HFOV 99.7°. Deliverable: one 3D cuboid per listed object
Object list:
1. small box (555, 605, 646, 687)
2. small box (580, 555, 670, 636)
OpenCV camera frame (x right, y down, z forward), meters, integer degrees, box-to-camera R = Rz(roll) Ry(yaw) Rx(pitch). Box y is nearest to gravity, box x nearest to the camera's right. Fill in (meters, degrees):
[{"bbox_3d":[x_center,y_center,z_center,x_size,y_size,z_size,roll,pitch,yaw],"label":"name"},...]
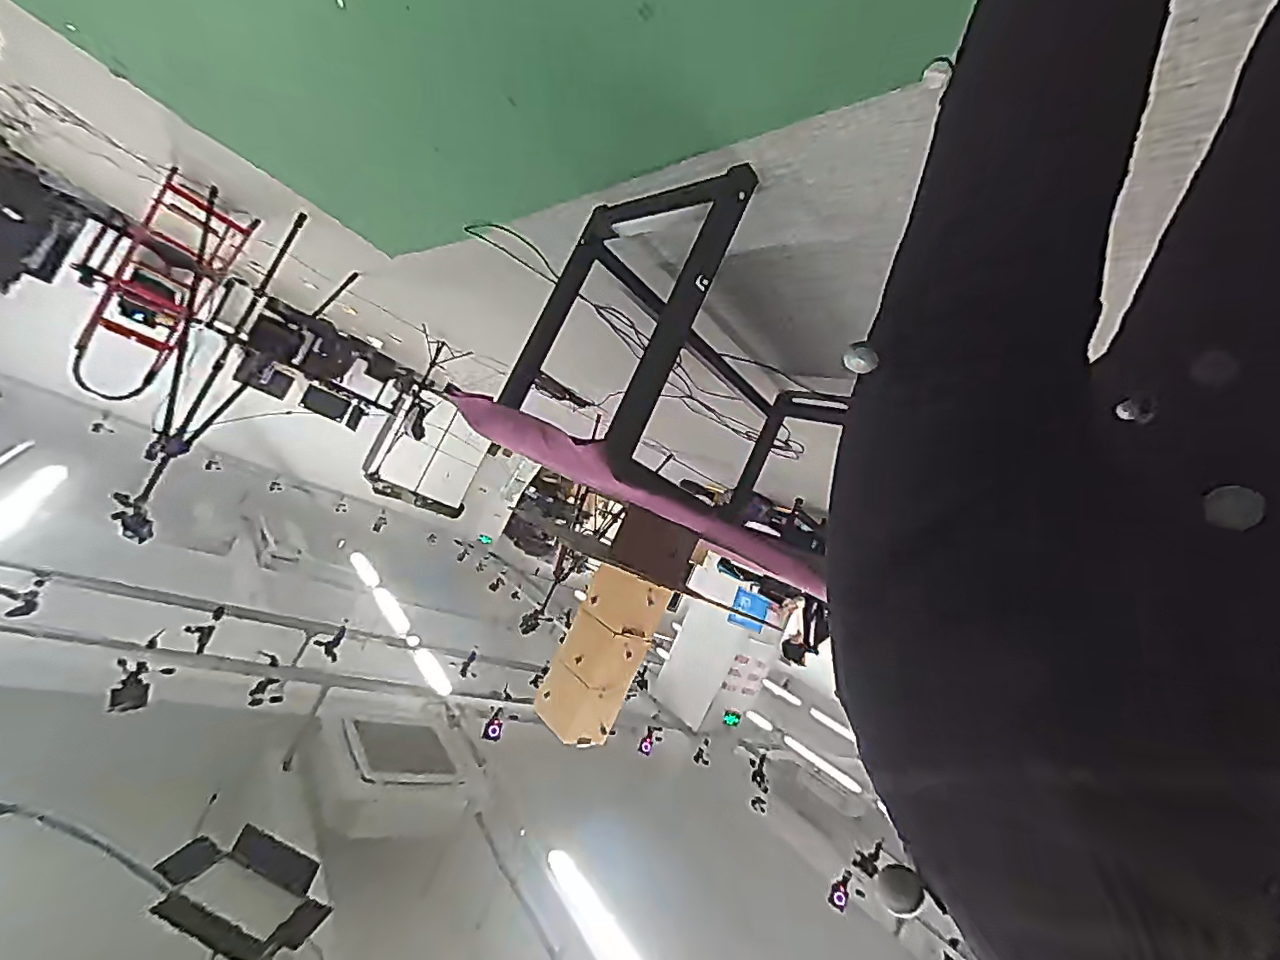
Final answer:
[{"bbox_3d":[-0.113,0.485,1.604,0.179,0.176,0.168,21,174,47],"label":"small box"},{"bbox_3d":[-0.043,0.338,1.615,0.179,0.176,0.168,22,175,46],"label":"small box"}]
